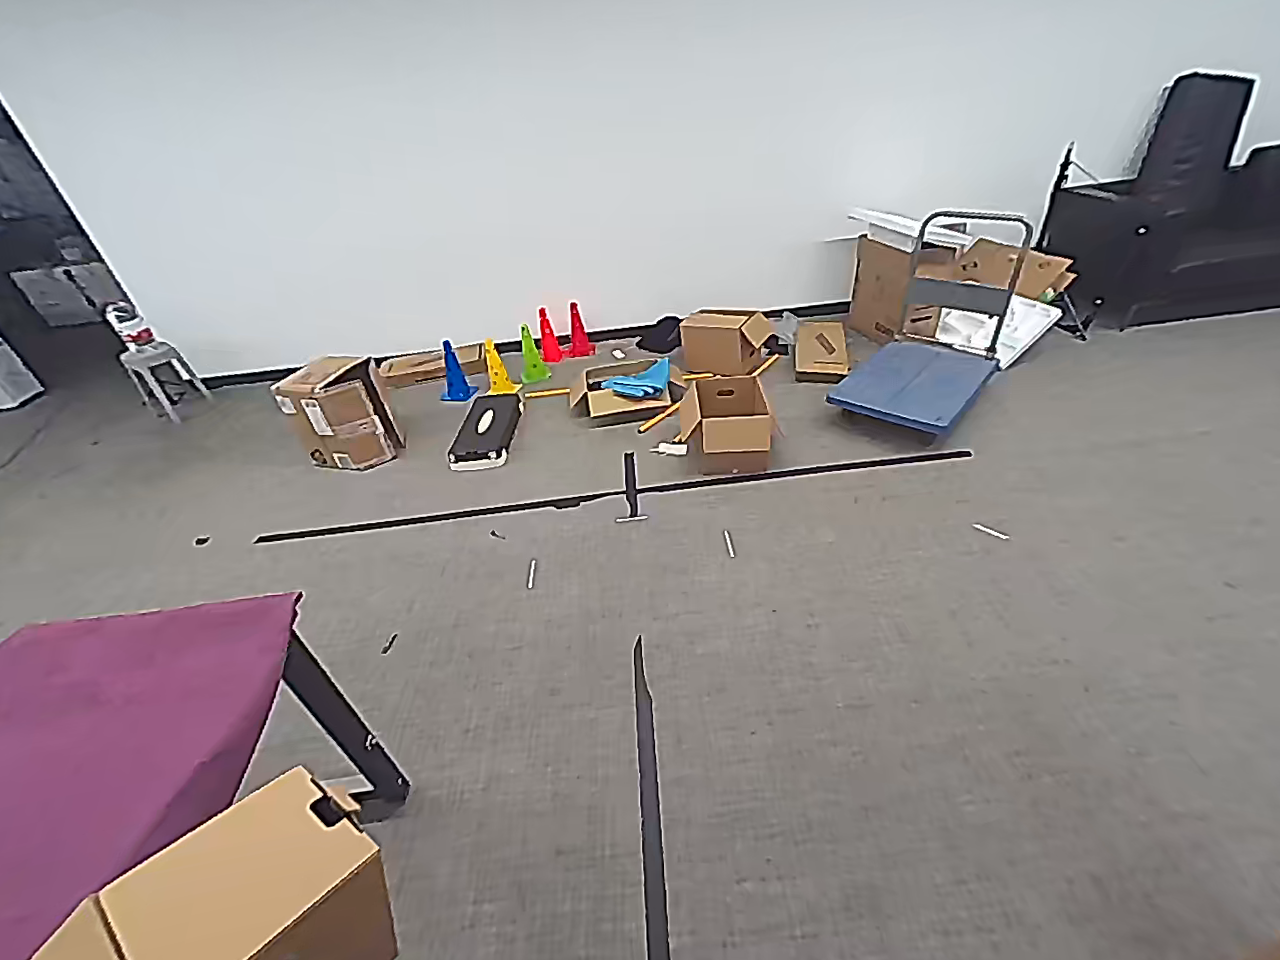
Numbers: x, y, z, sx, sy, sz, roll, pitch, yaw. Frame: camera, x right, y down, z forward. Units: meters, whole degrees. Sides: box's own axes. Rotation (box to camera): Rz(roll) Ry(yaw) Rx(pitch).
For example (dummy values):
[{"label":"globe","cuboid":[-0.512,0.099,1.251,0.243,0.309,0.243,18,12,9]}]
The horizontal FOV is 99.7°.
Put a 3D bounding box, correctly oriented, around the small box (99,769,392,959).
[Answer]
[{"label":"small box","cuboid":[-0.371,0.443,0.530,0.168,0.176,0.179,17,24,32]}]
